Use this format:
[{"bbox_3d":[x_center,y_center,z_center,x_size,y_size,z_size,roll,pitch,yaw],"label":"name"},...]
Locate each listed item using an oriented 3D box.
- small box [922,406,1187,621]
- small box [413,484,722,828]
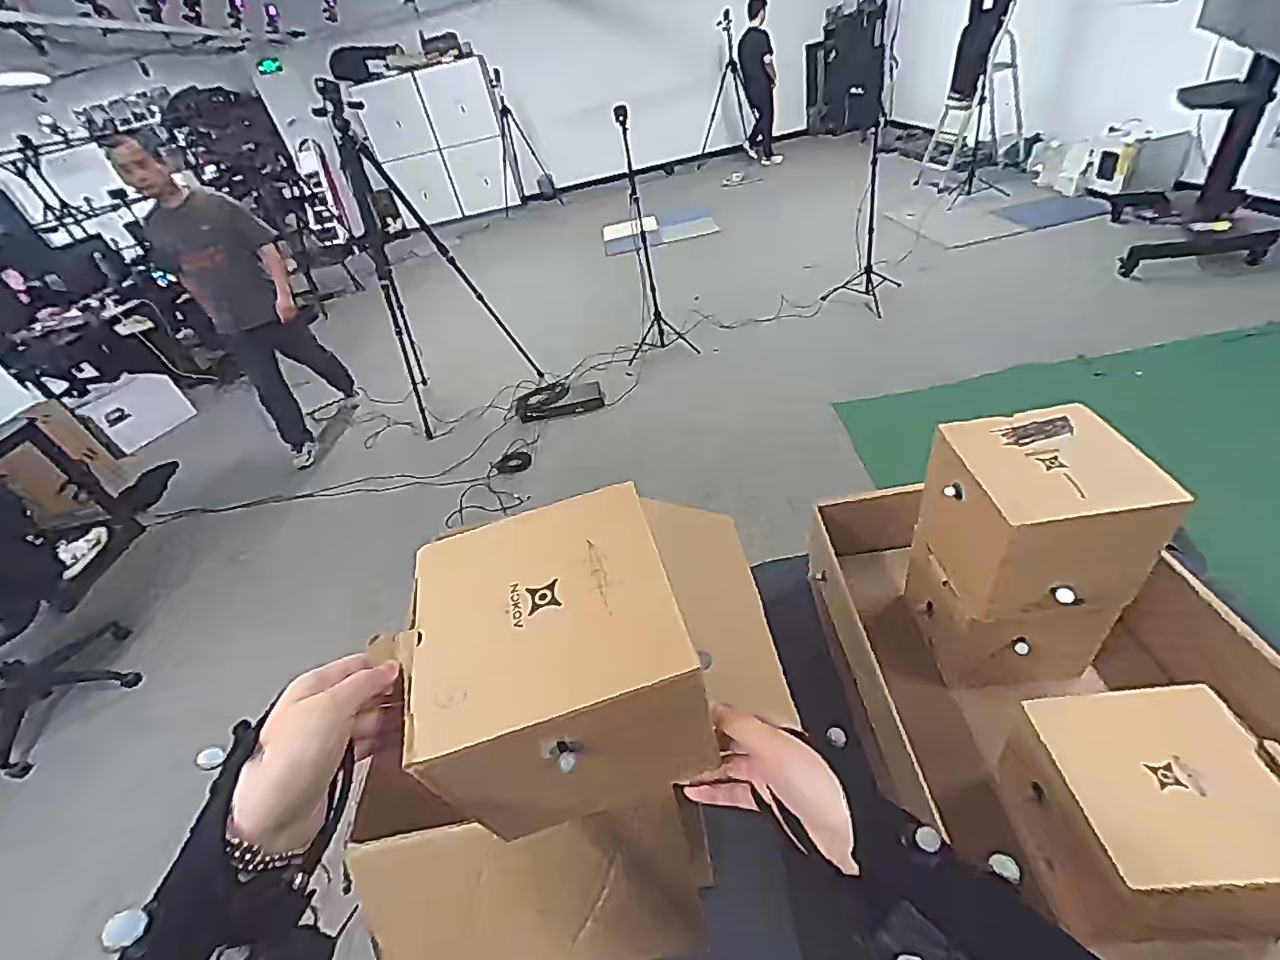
[{"bbox_3d":[0.454,0.039,0.636,0.168,0.176,0.179,-9,40,7],"label":"small box"},{"bbox_3d":[-0.048,0.136,0.415,0.179,0.176,0.168,-17,44,-4],"label":"small box"}]
